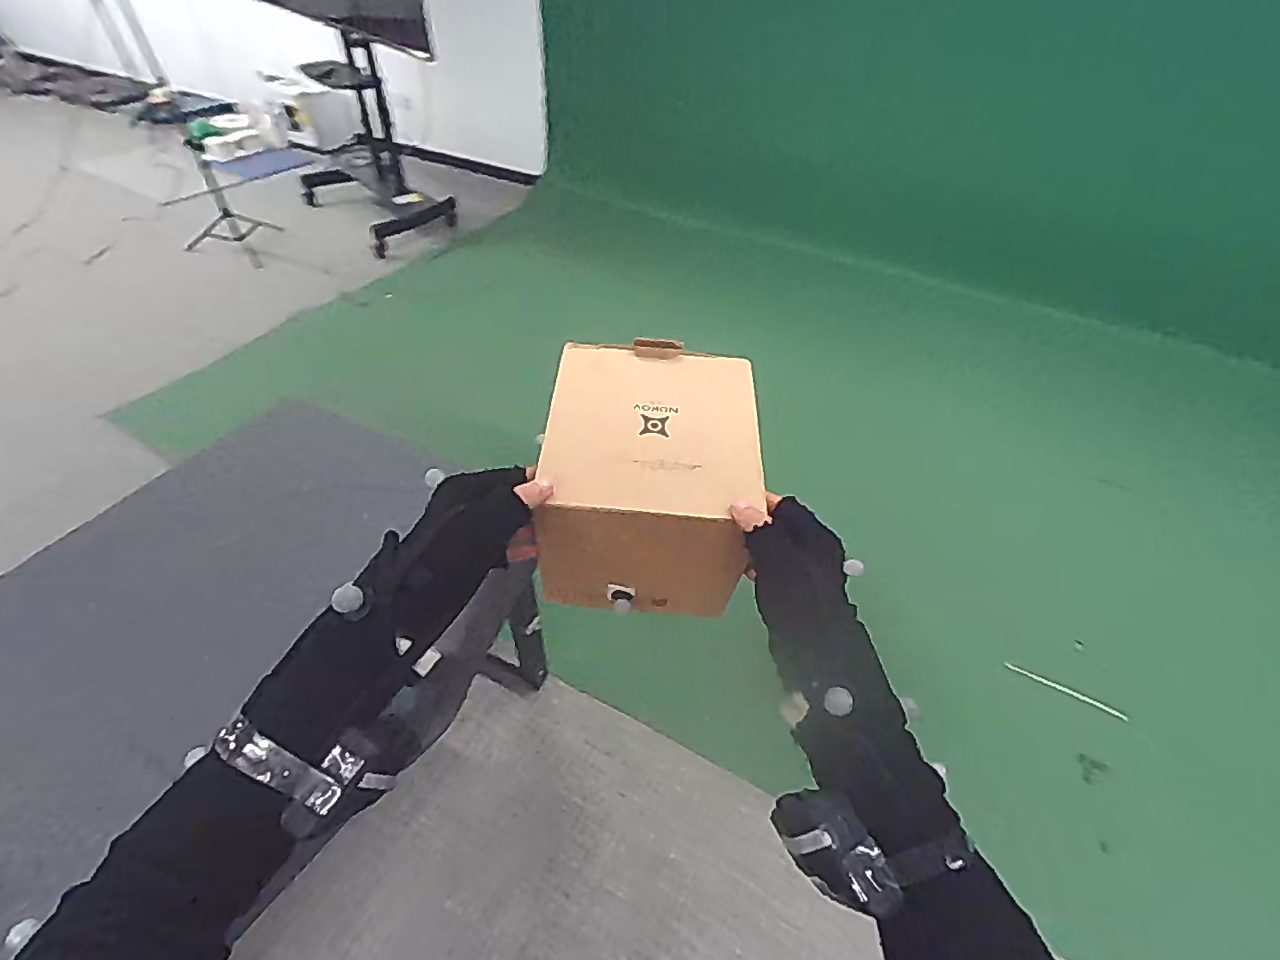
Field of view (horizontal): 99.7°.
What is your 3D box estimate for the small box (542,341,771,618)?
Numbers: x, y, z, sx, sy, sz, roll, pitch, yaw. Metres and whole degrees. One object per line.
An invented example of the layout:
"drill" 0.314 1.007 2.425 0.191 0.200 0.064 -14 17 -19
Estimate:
"small box" 0.012 0.004 0.490 0.168 0.176 0.179 6 53 -1
